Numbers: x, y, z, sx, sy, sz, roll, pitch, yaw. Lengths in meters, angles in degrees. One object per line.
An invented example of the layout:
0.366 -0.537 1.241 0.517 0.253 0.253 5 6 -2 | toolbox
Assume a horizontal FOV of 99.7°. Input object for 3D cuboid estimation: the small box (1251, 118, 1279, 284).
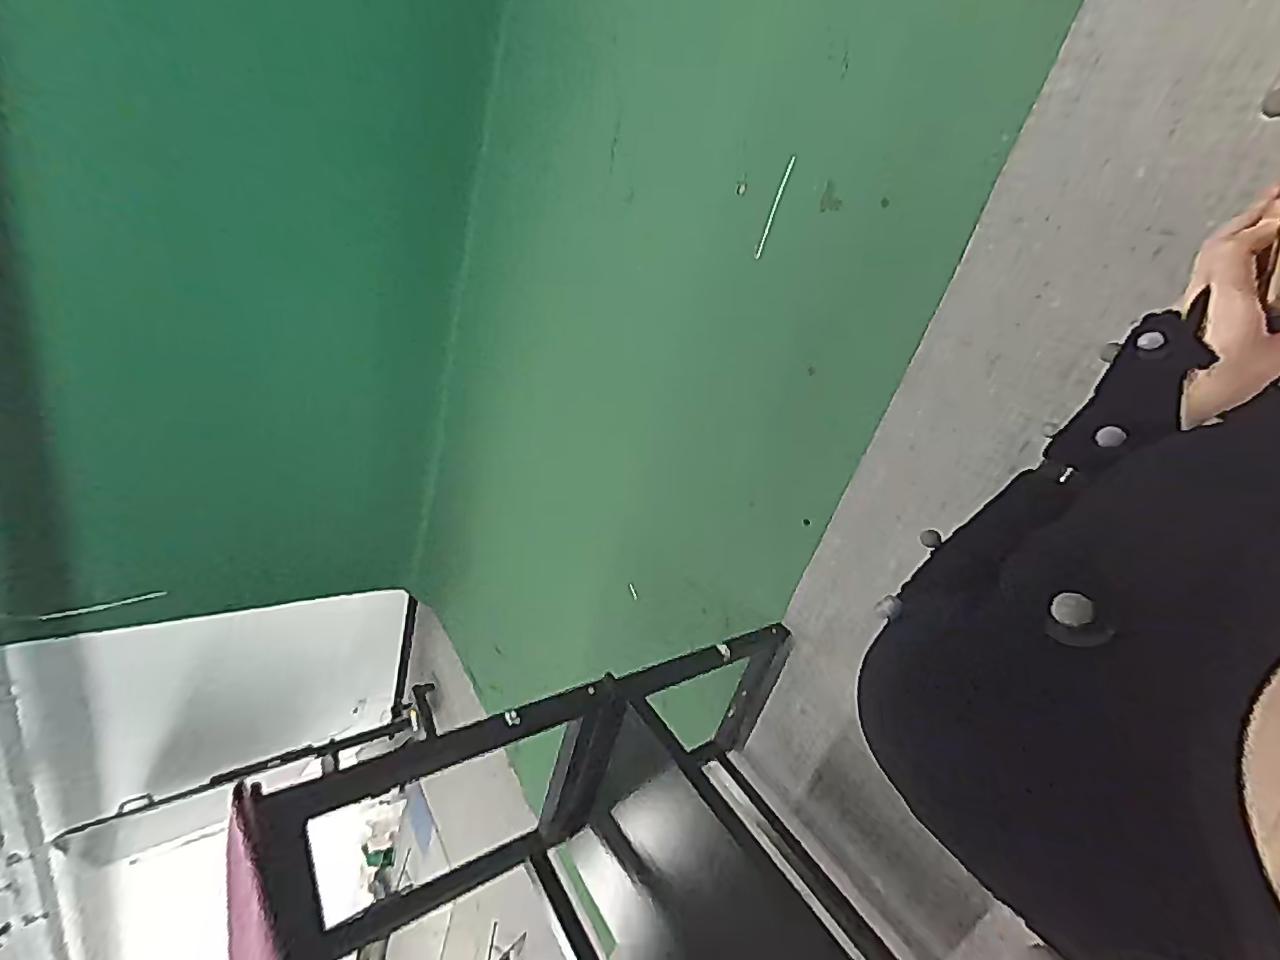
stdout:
0.425 -0.192 0.244 0.179 0.176 0.168 10 103 42 | small box
